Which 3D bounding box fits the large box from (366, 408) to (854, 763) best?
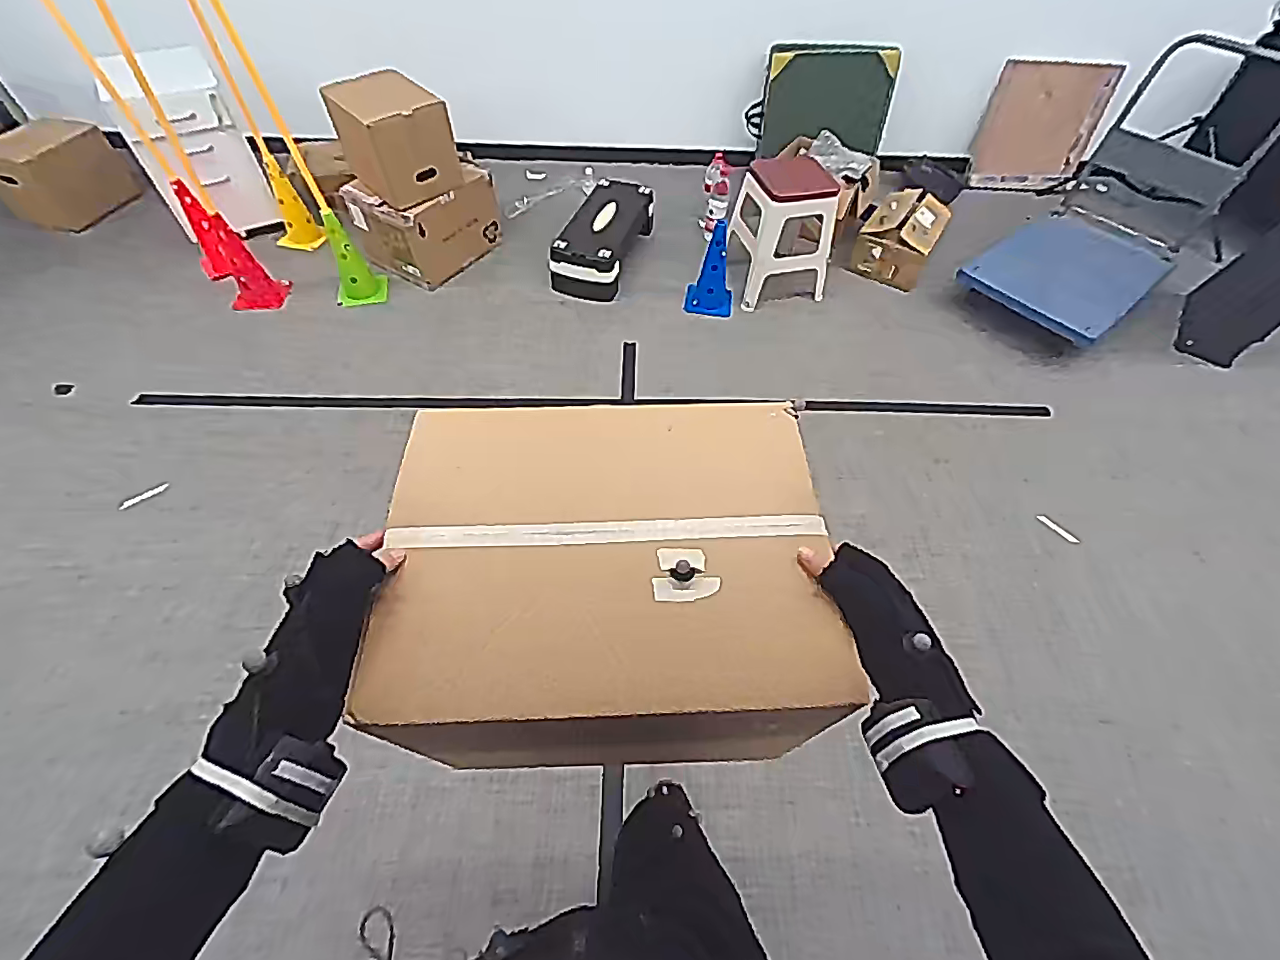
[{"bbox_3d":[-0.031,0.135,0.639,0.408,0.320,0.320,-1,56,-2],"label":"large box"}]
